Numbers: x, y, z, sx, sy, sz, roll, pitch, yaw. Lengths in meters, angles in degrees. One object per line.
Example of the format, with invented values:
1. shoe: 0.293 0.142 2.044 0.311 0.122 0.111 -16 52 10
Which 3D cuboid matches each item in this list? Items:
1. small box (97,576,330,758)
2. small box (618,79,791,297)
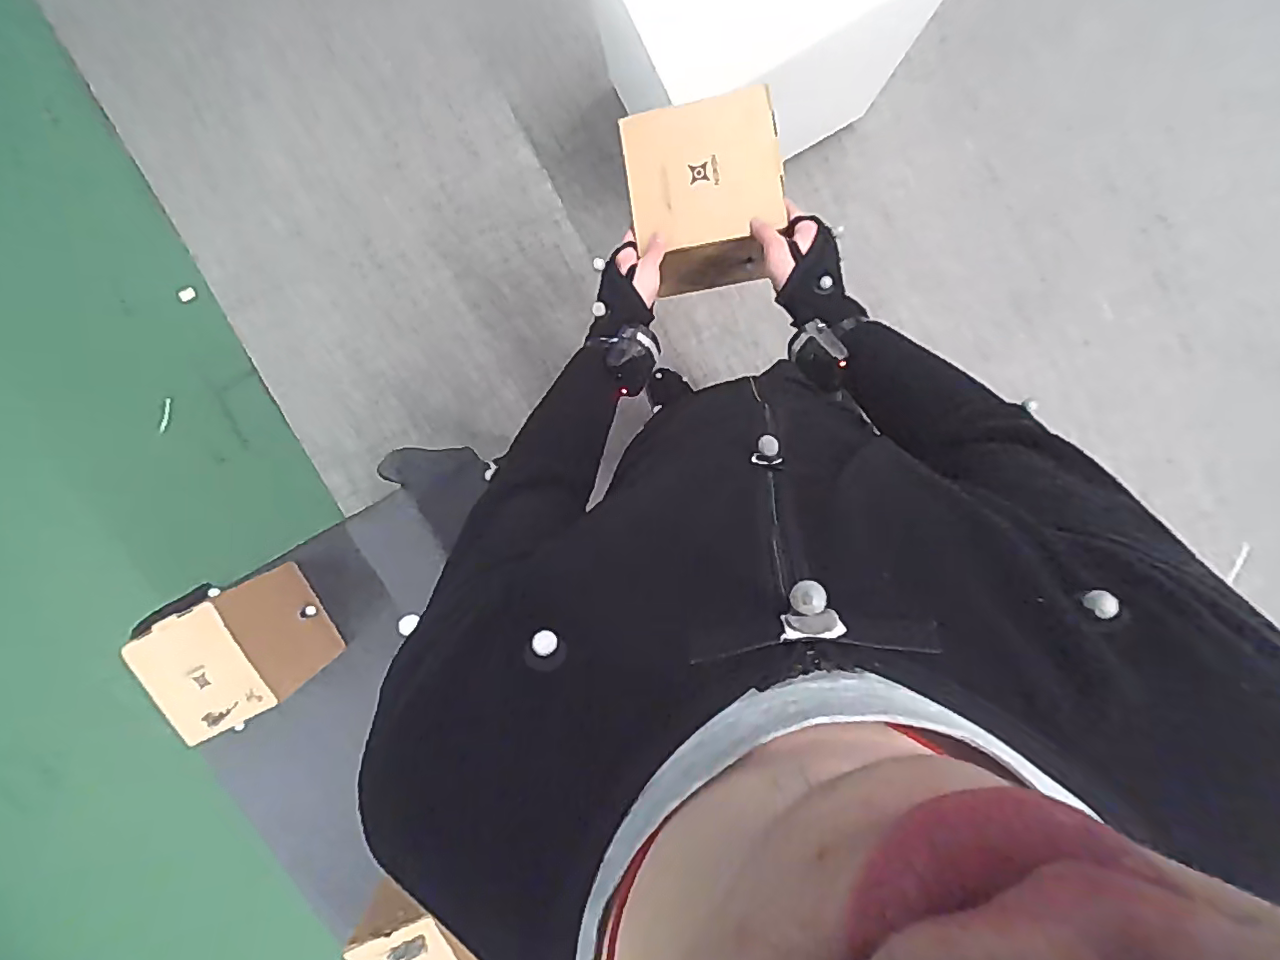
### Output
1. small box: -0.613 0.260 0.803 0.168 0.176 0.179 -27 98 7
2. small box: 0.080 -0.349 0.680 0.179 0.176 0.168 -9 90 9
